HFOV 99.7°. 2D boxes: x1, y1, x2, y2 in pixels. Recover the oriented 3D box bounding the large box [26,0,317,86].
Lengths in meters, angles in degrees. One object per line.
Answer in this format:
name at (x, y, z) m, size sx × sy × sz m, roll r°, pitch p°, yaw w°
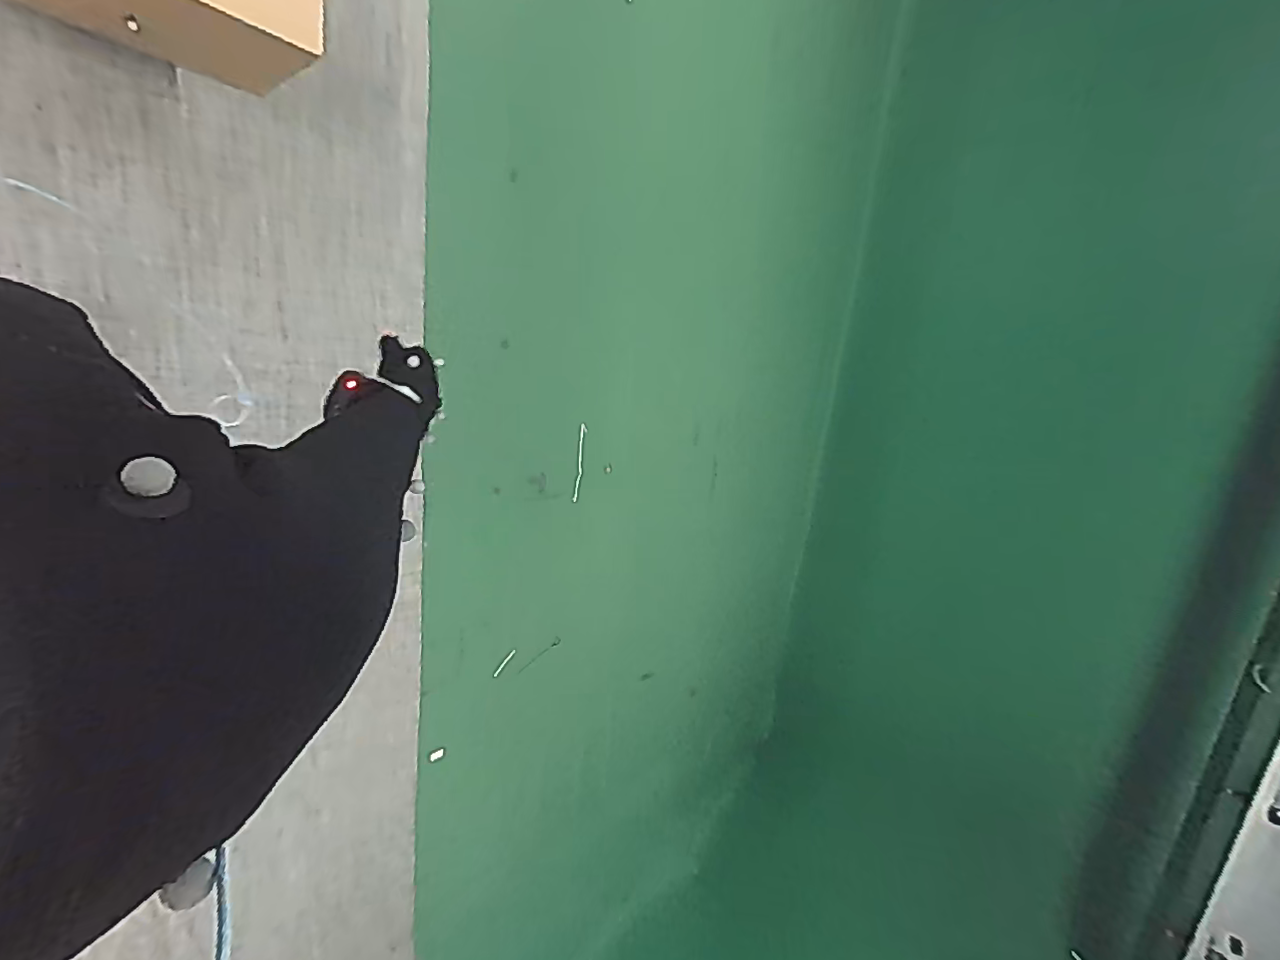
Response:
large box at (-0.732, -0.840, 0.765) m, size 0.408 × 0.320 × 0.320 m, roll -7°, pitch 109°, yaw -49°
